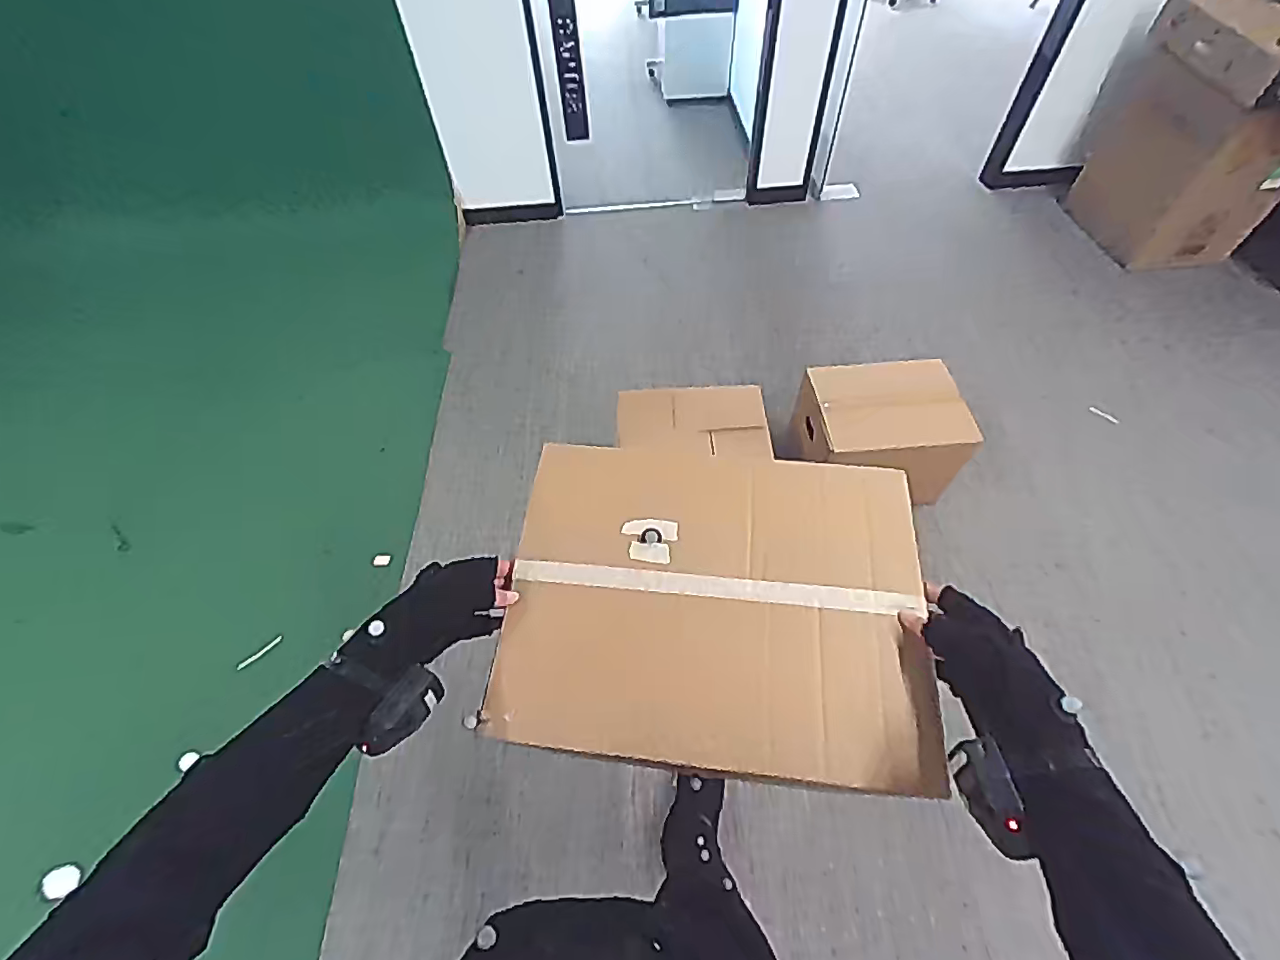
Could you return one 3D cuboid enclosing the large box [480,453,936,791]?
[{"bbox_3d":[0.077,0.185,0.668,0.408,0.320,0.320,4,60,6],"label":"large box"}]
